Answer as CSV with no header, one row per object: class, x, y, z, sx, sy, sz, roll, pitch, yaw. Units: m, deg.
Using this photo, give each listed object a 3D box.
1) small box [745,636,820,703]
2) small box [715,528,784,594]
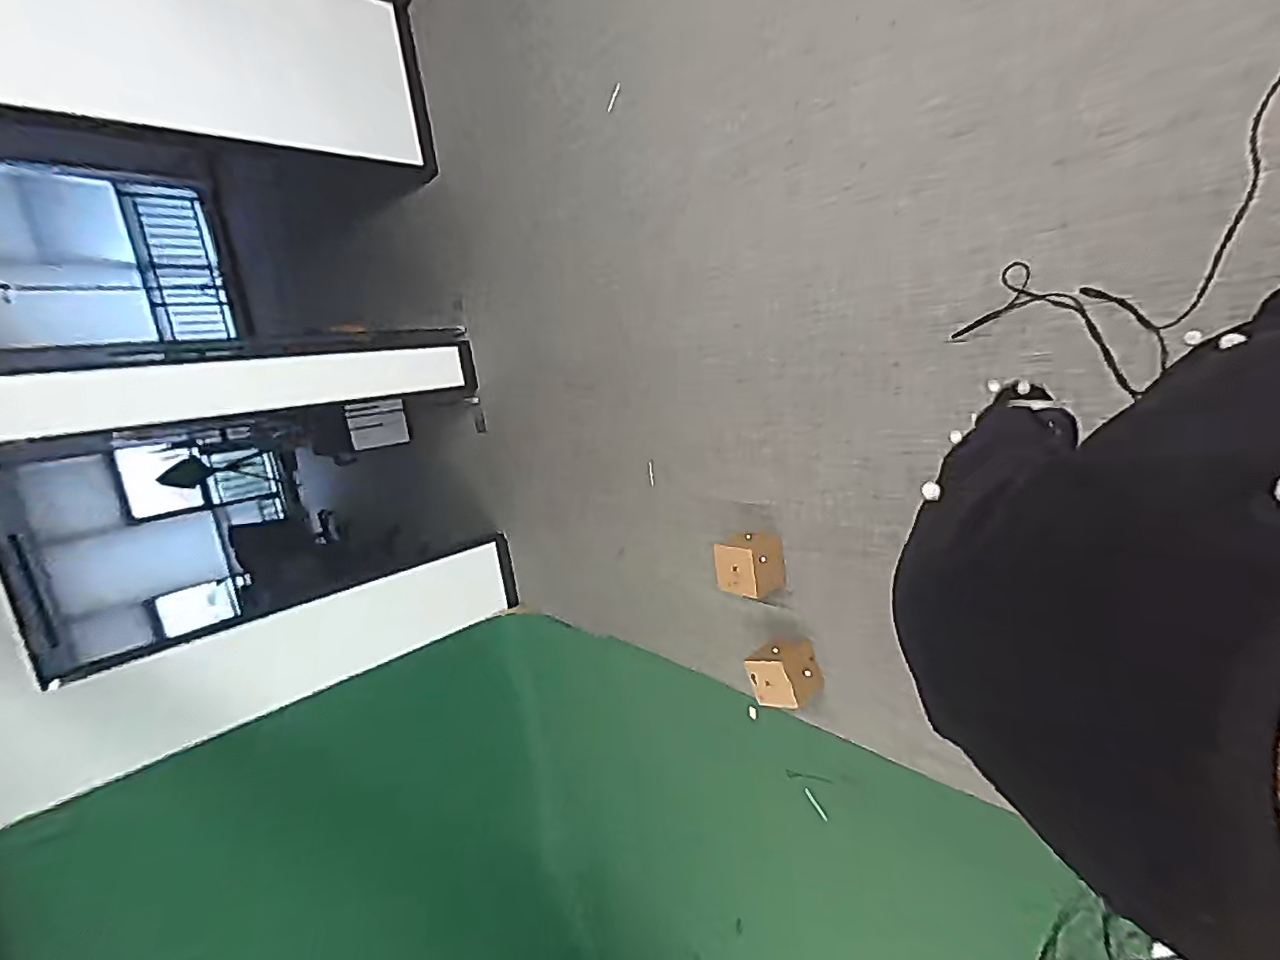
small box,0.504,0.656,1.887,0.179,0.176,0.168,-22,87,49
small box,0.384,0.276,1.885,0.168,0.176,0.179,2,105,49
